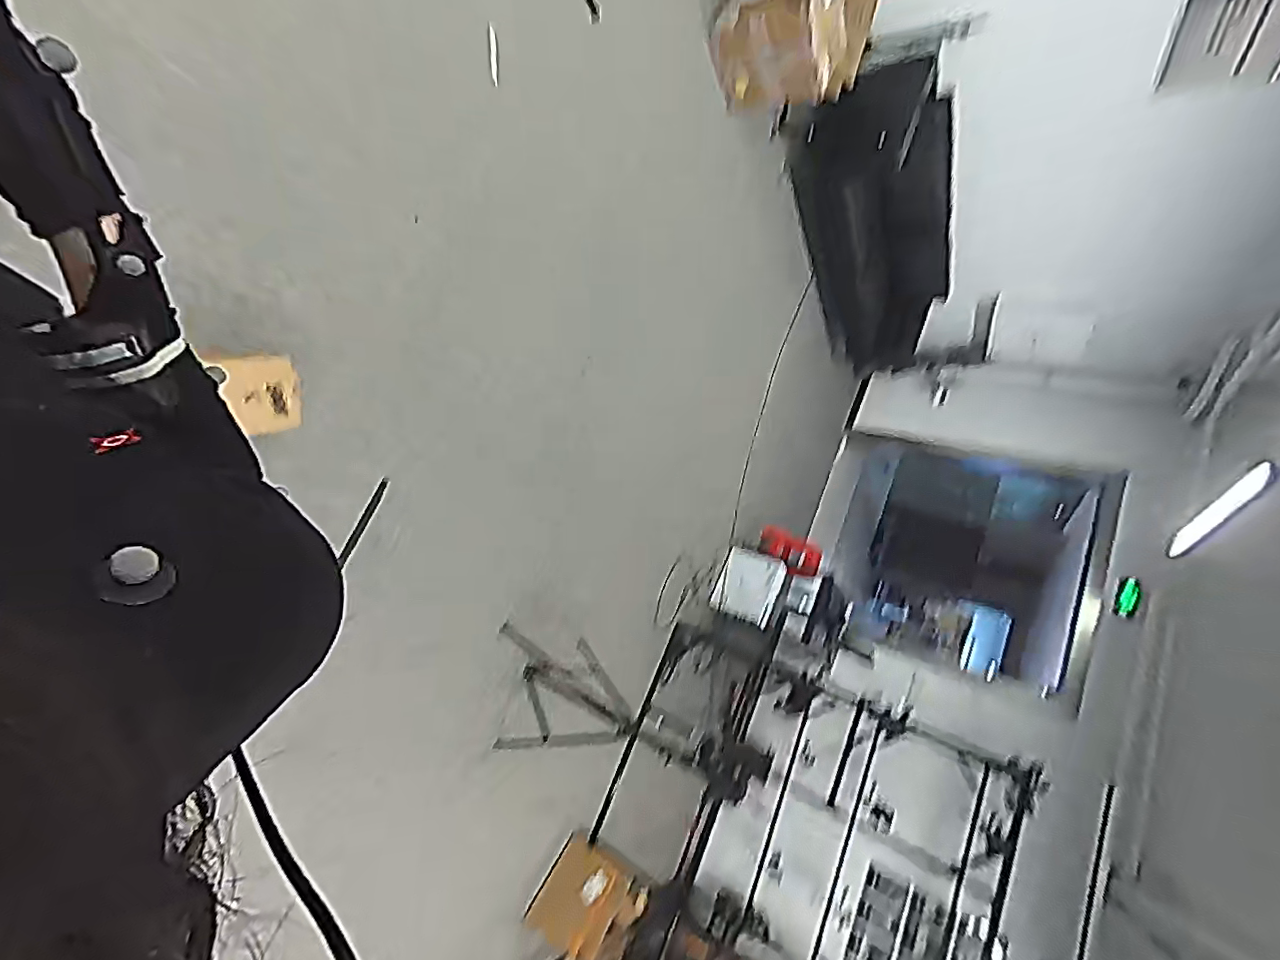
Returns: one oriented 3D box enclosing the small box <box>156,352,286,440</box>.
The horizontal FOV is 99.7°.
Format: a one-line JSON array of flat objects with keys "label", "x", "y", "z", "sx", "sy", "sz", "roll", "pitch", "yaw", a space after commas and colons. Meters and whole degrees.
[{"label": "small box", "x": -0.947, "y": -0.199, "z": 1.229, "sx": 0.179, "sy": 0.176, "sz": 0.168, "roll": -22, "pitch": 120, "yaw": -52}]
